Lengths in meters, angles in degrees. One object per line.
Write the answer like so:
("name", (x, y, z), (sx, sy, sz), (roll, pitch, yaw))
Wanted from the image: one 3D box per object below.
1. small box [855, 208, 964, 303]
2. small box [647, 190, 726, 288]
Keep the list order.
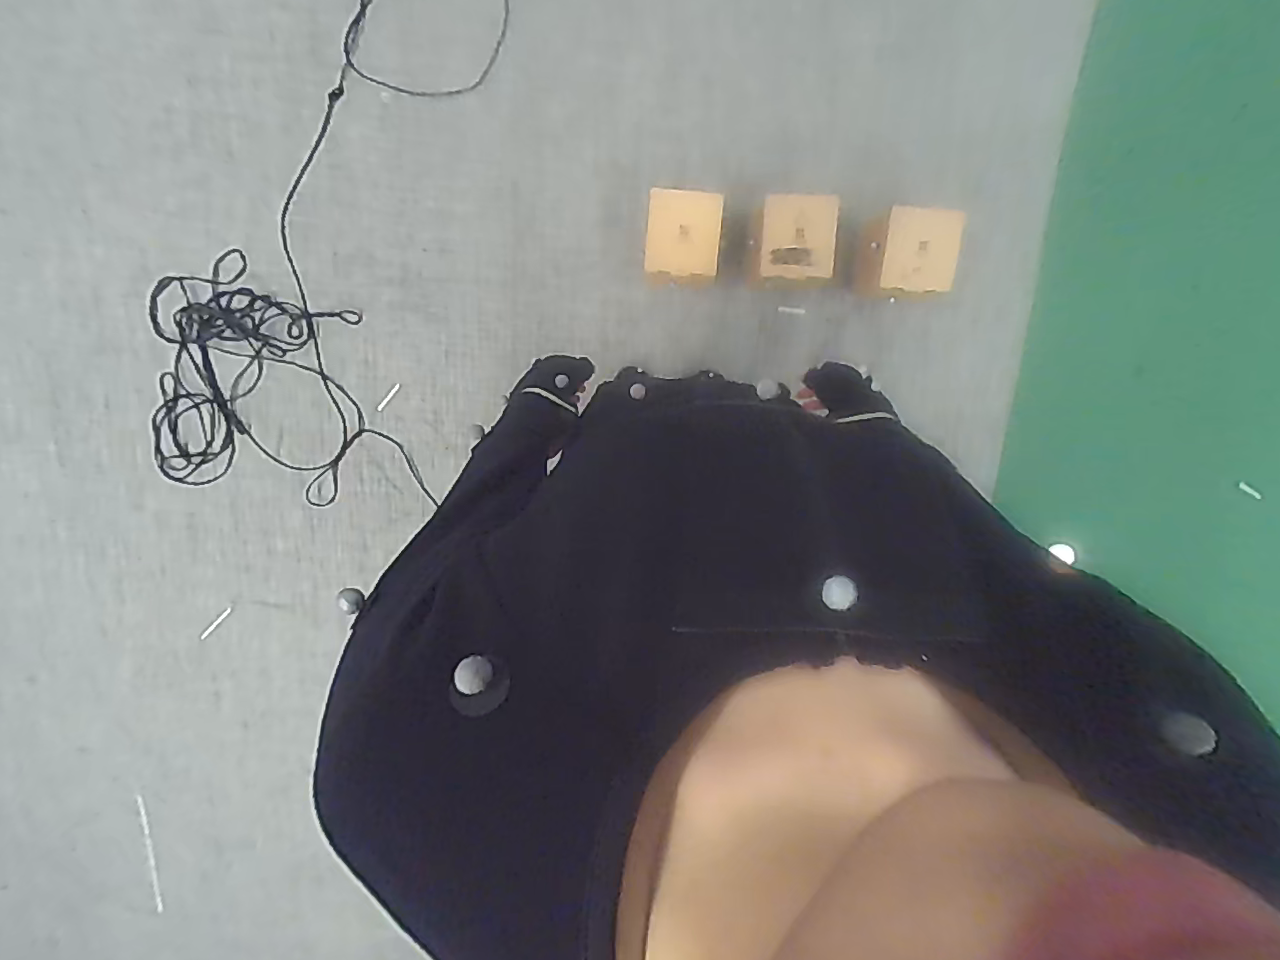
("small box", (0.634, -0.529, 1.294), (0.168, 0.176, 0.179), (5, 102, 1))
("small box", (0.106, -0.570, 1.297), (0.168, 0.176, 0.179), (5, 102, 1))
